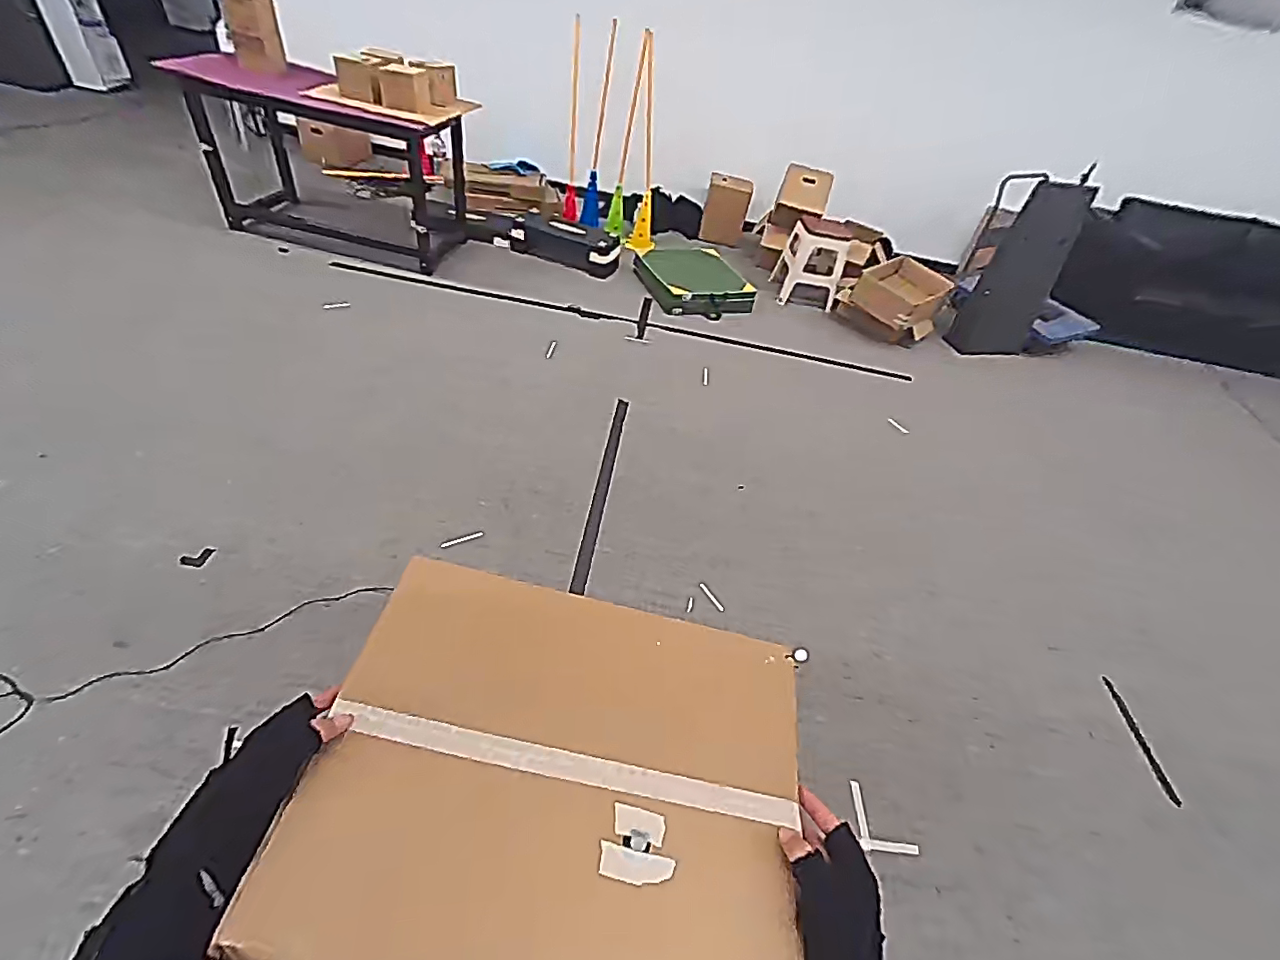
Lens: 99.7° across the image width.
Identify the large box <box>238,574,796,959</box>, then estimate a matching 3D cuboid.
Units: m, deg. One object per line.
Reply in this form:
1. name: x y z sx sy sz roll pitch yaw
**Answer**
1. large box: -0.088 0.346 0.579 0.408 0.320 0.320 14 50 -3
